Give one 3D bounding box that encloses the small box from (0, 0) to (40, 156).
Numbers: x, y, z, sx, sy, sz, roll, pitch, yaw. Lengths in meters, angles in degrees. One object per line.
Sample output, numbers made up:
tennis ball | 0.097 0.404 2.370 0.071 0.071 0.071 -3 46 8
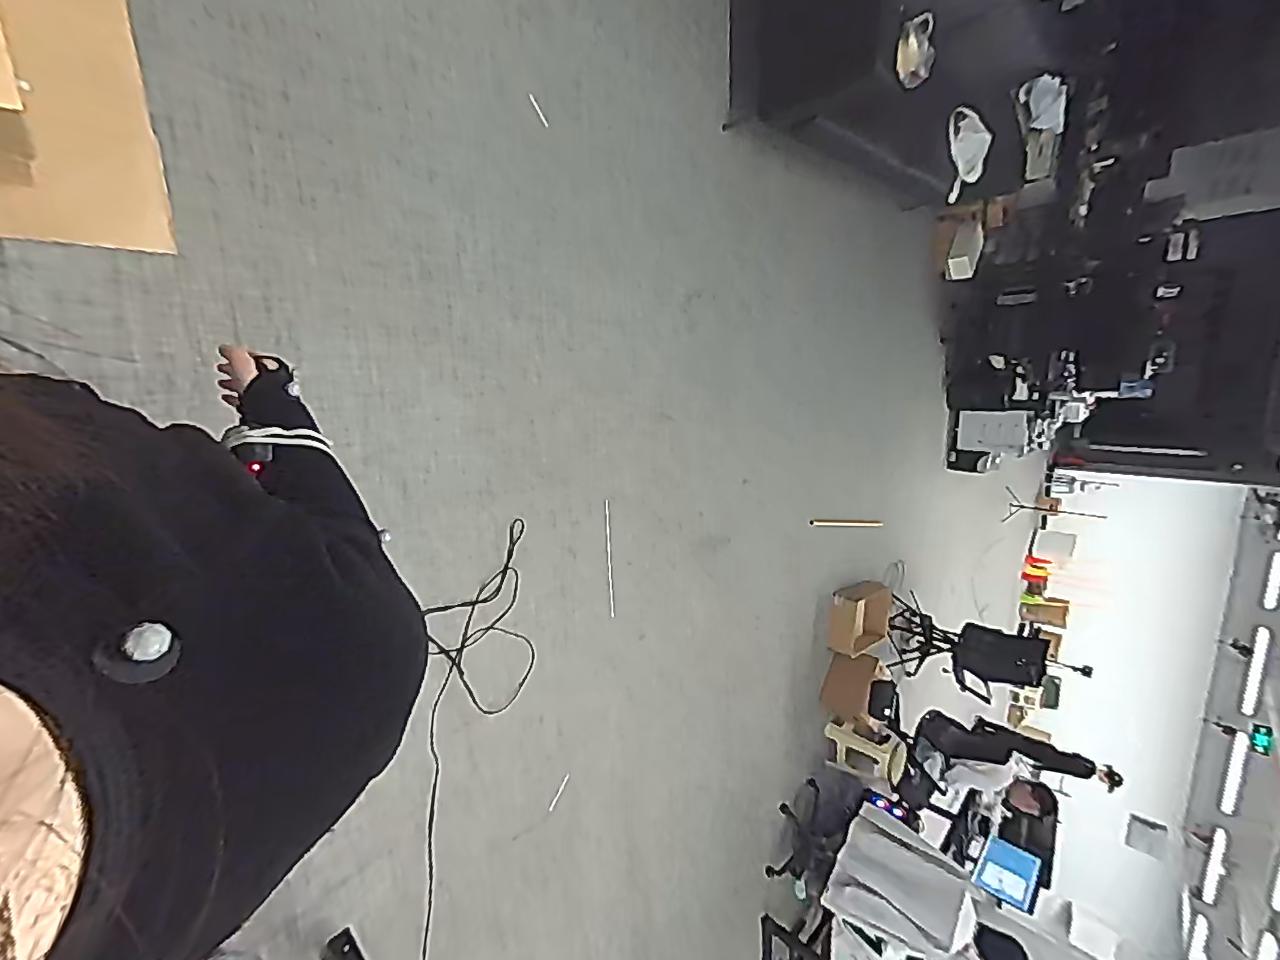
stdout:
small box | -0.643 -0.398 0.449 0.168 0.176 0.179 -15 107 -43
